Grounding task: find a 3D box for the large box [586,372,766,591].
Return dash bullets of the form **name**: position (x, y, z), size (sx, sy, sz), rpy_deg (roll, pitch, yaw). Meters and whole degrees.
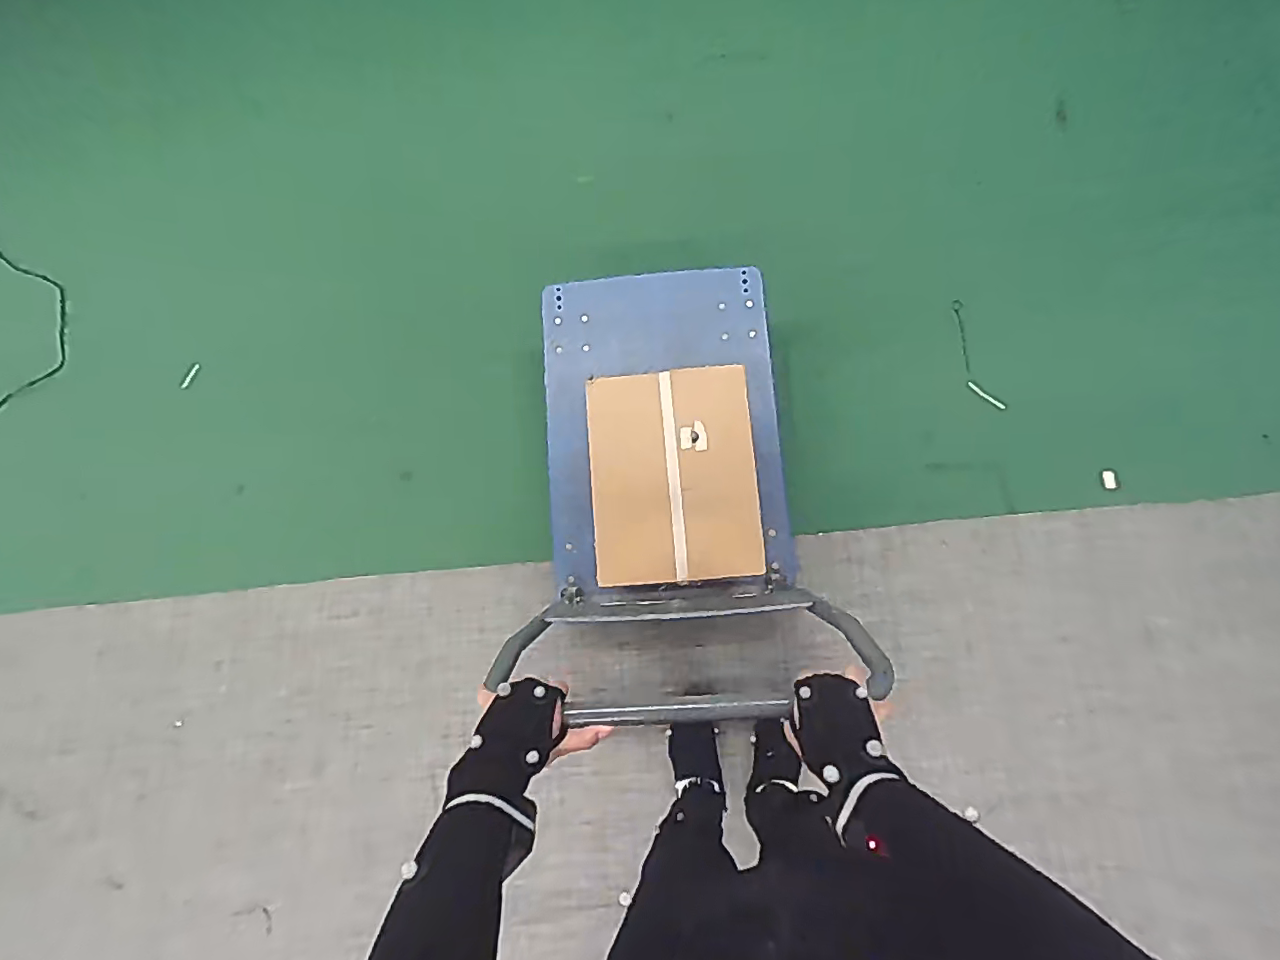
- **large box**: position (0.074, 0.021, 1.174), size (0.320, 0.320, 0.408), rpy_deg (-5, 81, 3)
